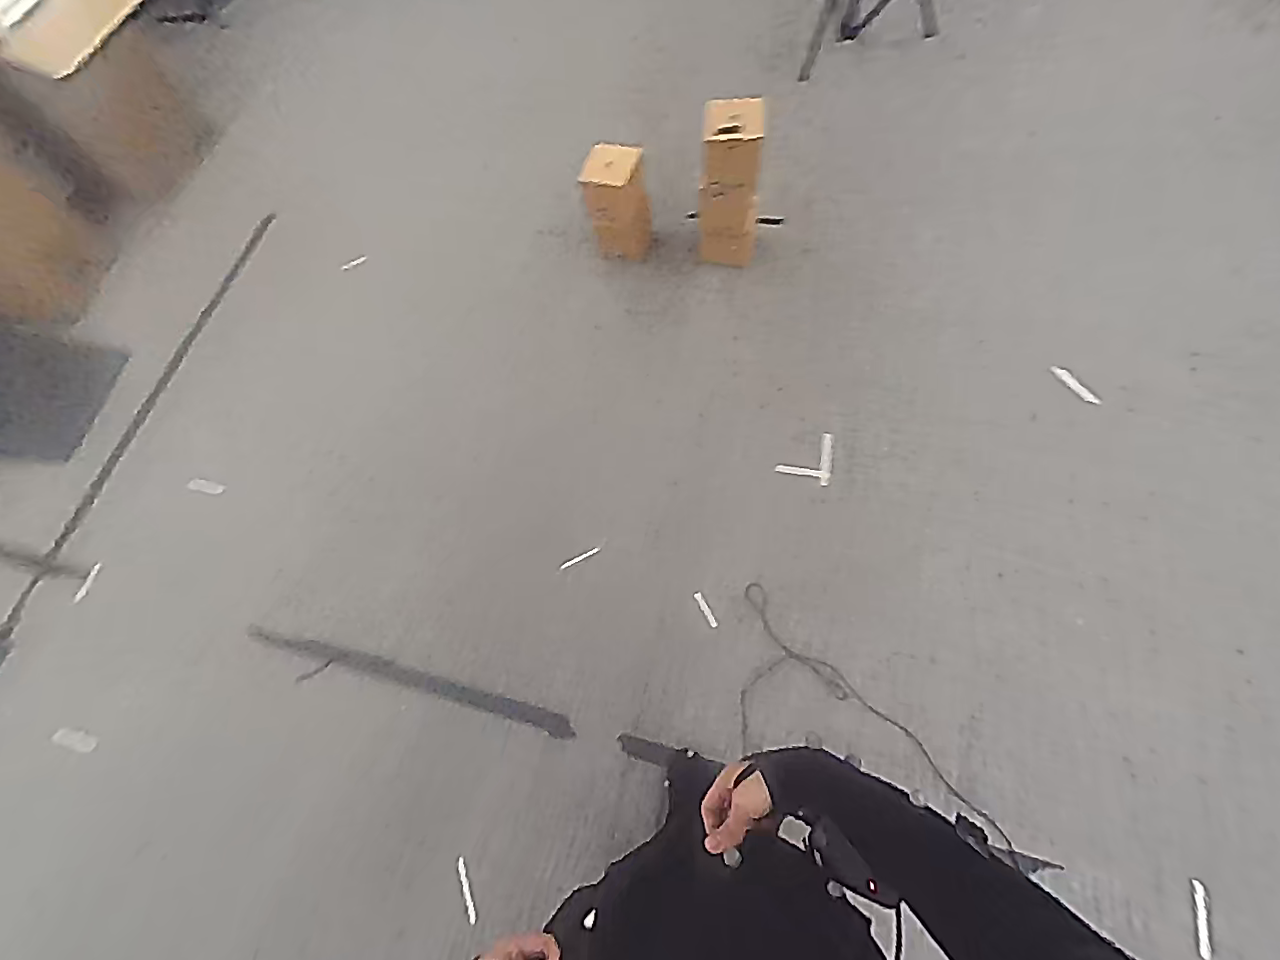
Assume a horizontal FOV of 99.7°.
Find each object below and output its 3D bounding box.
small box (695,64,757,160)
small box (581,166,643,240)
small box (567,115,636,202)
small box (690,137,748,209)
[{"bbox_3d":[0.247,-1.055,1.563,0.168,0.176,0.179,3,69,7],"label":"small box"},{"bbox_3d":[-0.092,-0.999,1.937,0.168,0.176,0.179,13,70,14],"label":"small box"},{"bbox_3d":[-0.119,-1.065,1.793,0.168,0.176,0.179,16,72,14],"label":"small box"},{"bbox_3d":[0.253,-1.001,1.720,0.168,0.176,0.179,9,69,11],"label":"small box"}]
